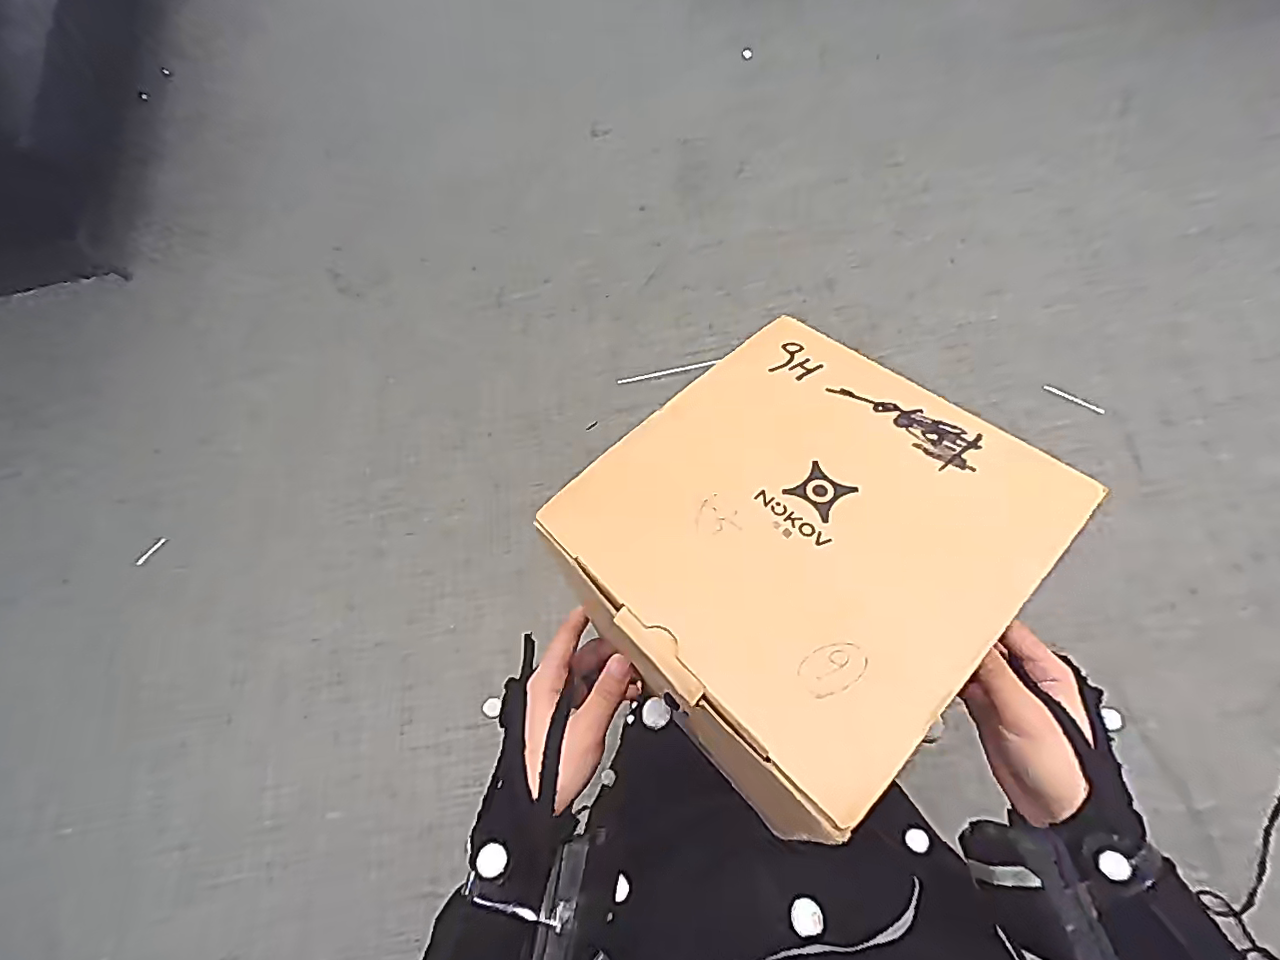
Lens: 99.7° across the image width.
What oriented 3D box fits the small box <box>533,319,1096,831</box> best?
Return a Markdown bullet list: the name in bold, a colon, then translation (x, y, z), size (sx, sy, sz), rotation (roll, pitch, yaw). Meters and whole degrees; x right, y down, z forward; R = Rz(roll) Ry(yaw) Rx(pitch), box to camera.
- **small box**: translation (0.077, 0.055, 0.294), size (0.179, 0.176, 0.168), rotation (-40, 60, -17)
